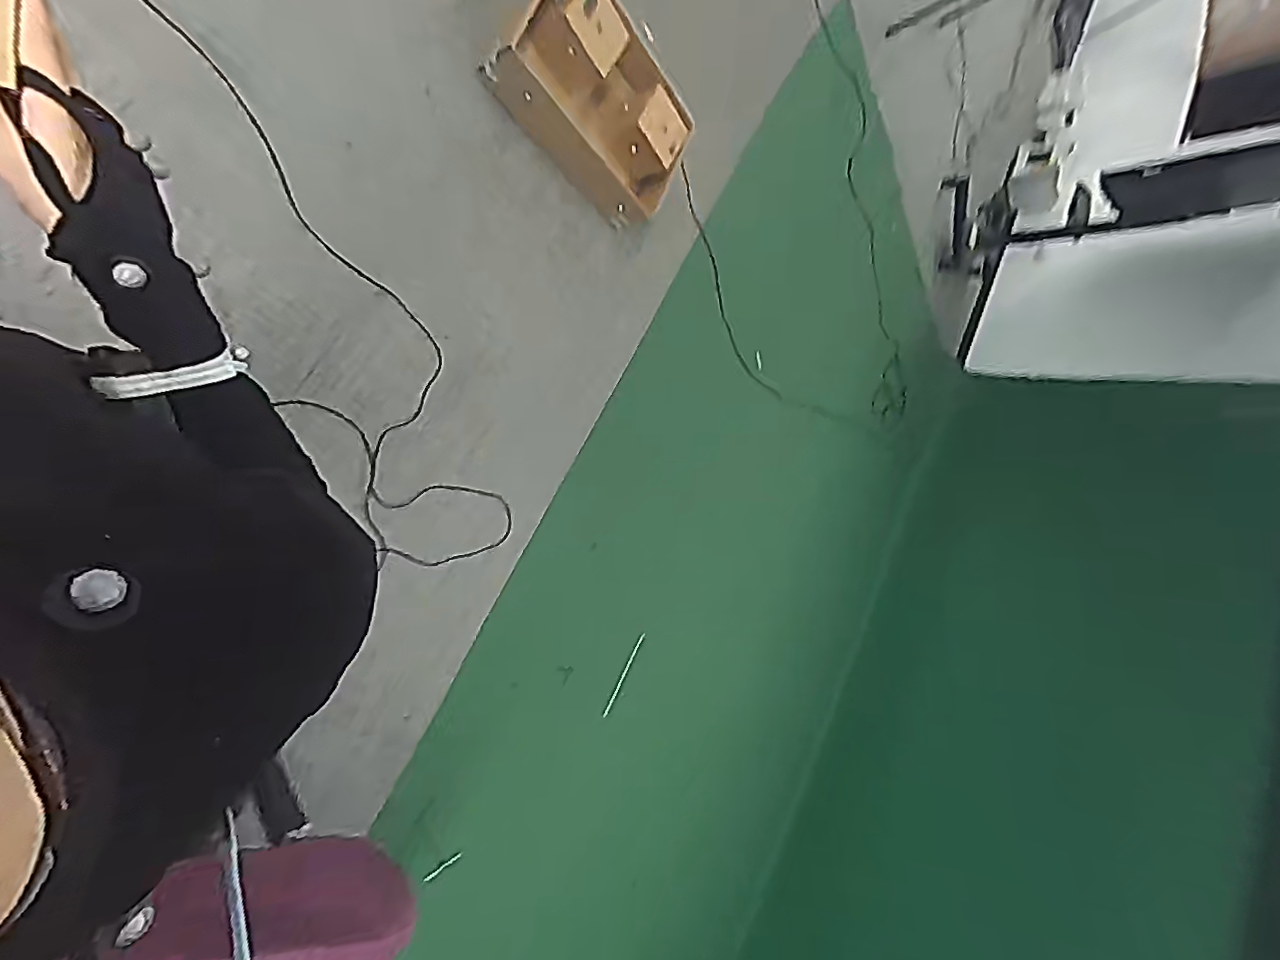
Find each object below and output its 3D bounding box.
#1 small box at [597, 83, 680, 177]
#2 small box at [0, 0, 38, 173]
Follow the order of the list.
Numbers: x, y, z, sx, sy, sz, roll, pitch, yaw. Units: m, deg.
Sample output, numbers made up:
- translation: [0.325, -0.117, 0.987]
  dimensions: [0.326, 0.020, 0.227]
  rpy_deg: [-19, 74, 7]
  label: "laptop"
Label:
- translation: [-0.008, -1.121, 1.751]
  dimensions: [0.179, 0.176, 0.168]
  rpy_deg: [38, 73, -43]
  label: "small box"
- translation: [-0.451, -0.296, 0.284]
  dimensions: [0.179, 0.176, 0.168]
  rpy_deg: [1, 92, -48]
  label: "small box"
